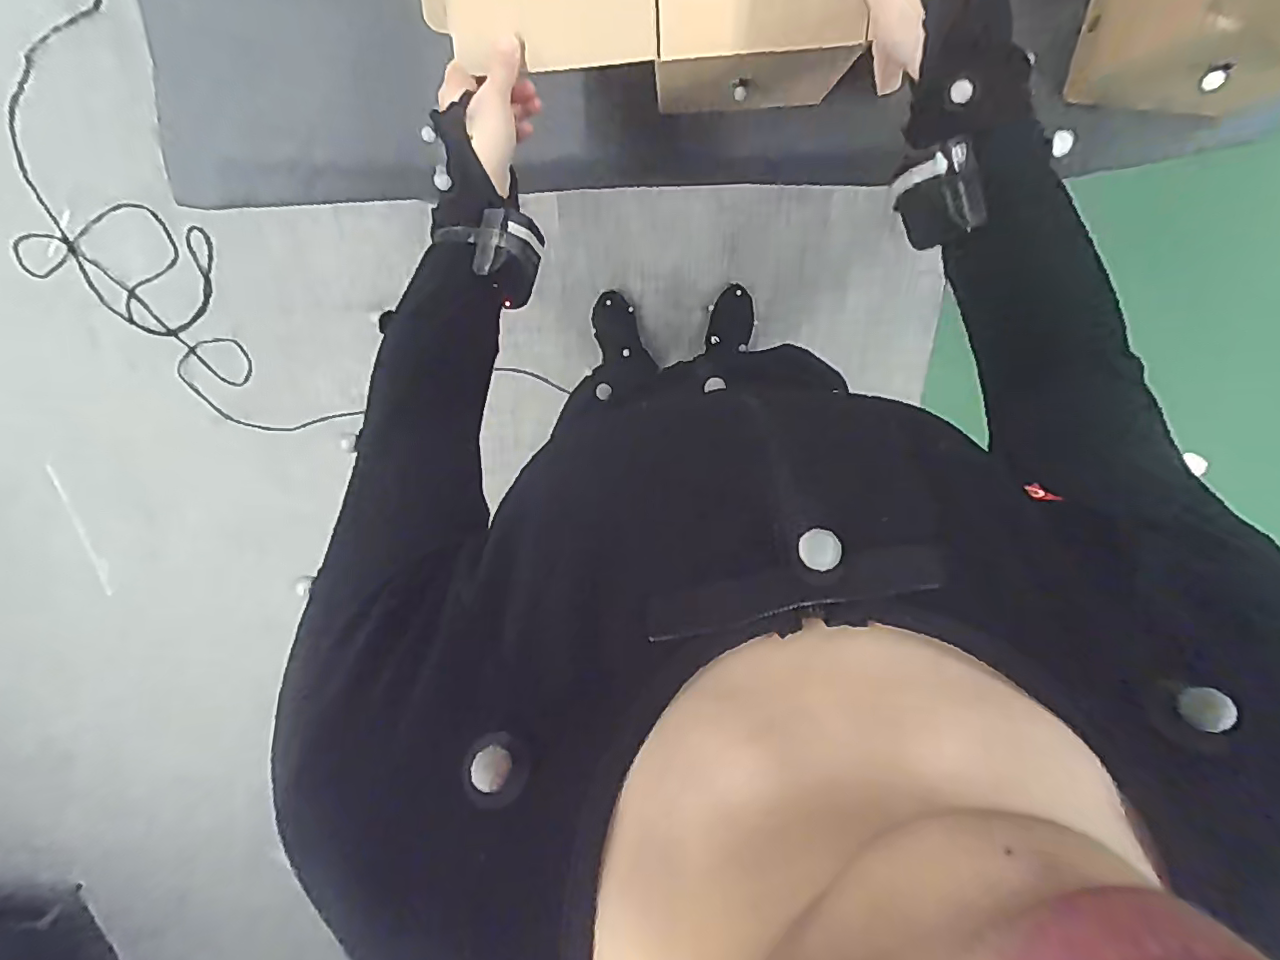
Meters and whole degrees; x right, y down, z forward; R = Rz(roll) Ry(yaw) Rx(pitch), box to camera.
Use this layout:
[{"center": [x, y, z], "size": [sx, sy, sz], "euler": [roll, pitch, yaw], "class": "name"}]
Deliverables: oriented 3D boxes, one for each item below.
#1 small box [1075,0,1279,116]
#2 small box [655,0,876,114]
[{"center": [0.534, -0.436, 0.464], "size": [0.179, 0.176, 0.168], "euler": [6, 109, 1], "class": "small box"}, {"center": [0.102, -0.448, 0.485], "size": [0.179, 0.176, 0.168], "euler": [-1, 111, 5], "class": "small box"}]
